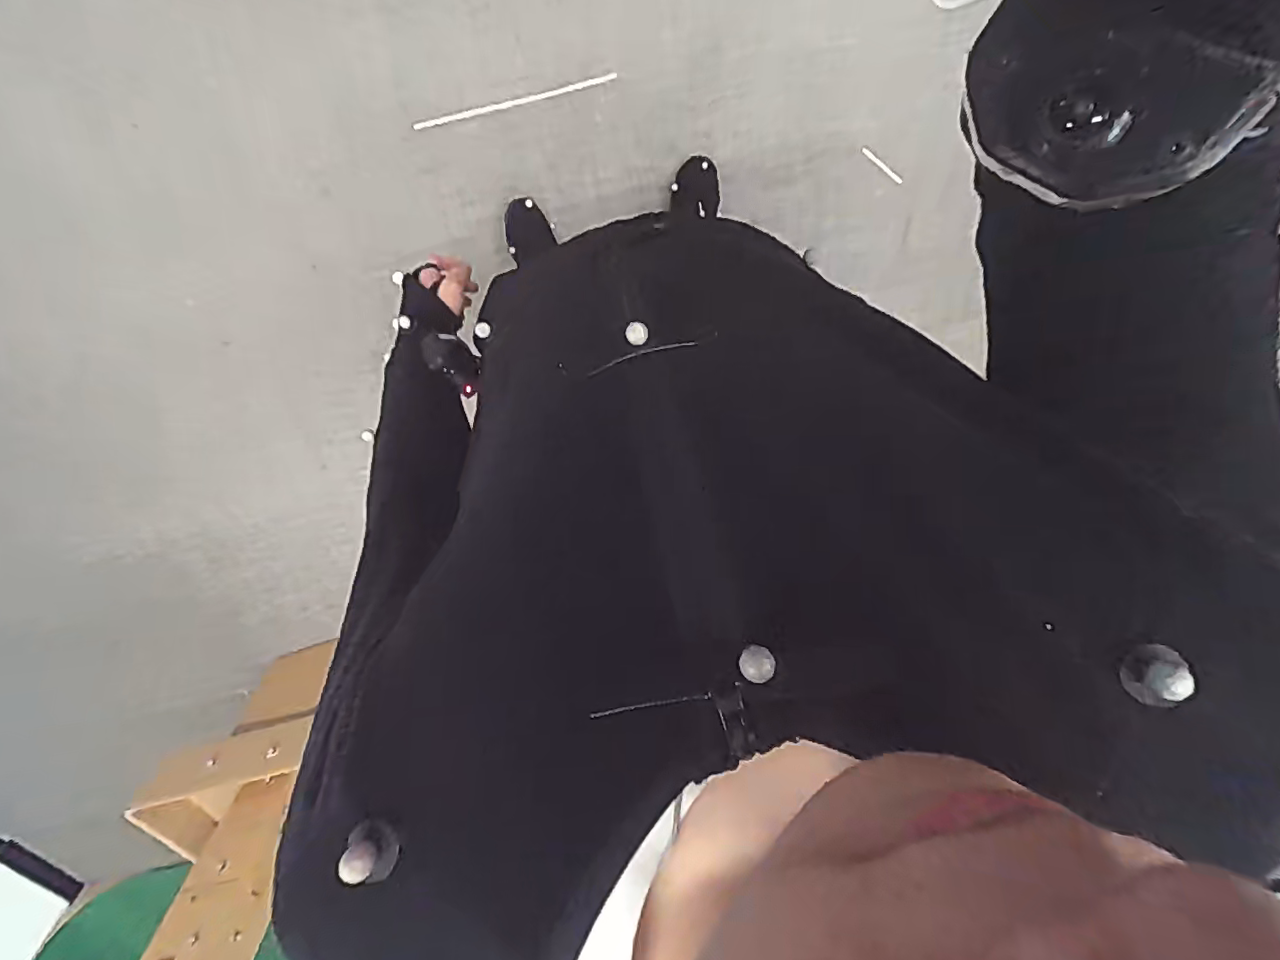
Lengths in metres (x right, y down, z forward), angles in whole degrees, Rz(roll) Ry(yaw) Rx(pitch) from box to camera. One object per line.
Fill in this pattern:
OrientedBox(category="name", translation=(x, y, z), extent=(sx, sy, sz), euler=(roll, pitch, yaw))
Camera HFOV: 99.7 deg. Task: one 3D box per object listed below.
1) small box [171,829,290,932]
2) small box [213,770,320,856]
OrientedBox(category="small box", translation=(-1.105, 1.093, 1.484), extent=(0.179, 0.176, 0.168), euler=(-14, 119, 5))
OrientedBox(category="small box", translation=(-1.110, 1.012, 1.626), extent=(0.168, 0.176, 0.179), euler=(-15, 119, 5))
